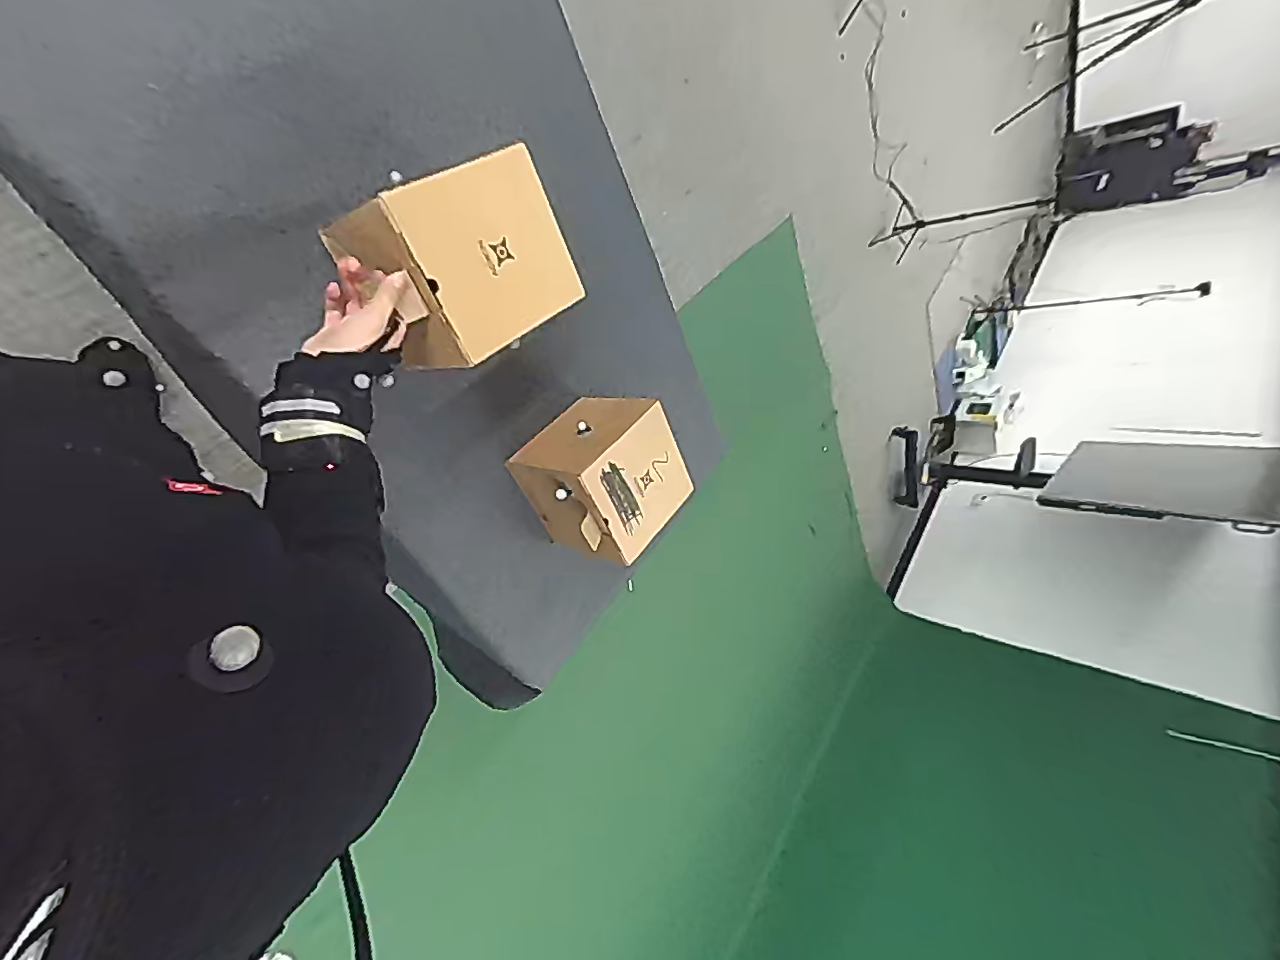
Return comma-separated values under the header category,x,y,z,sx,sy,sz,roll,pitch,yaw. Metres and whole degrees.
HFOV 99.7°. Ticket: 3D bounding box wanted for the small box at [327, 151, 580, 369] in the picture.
category,x,y,z,sx,sy,sz,roll,pitch,yaw
small box,-0.205,-0.239,0.606,0.179,0.176,0.168,-44,127,-32
